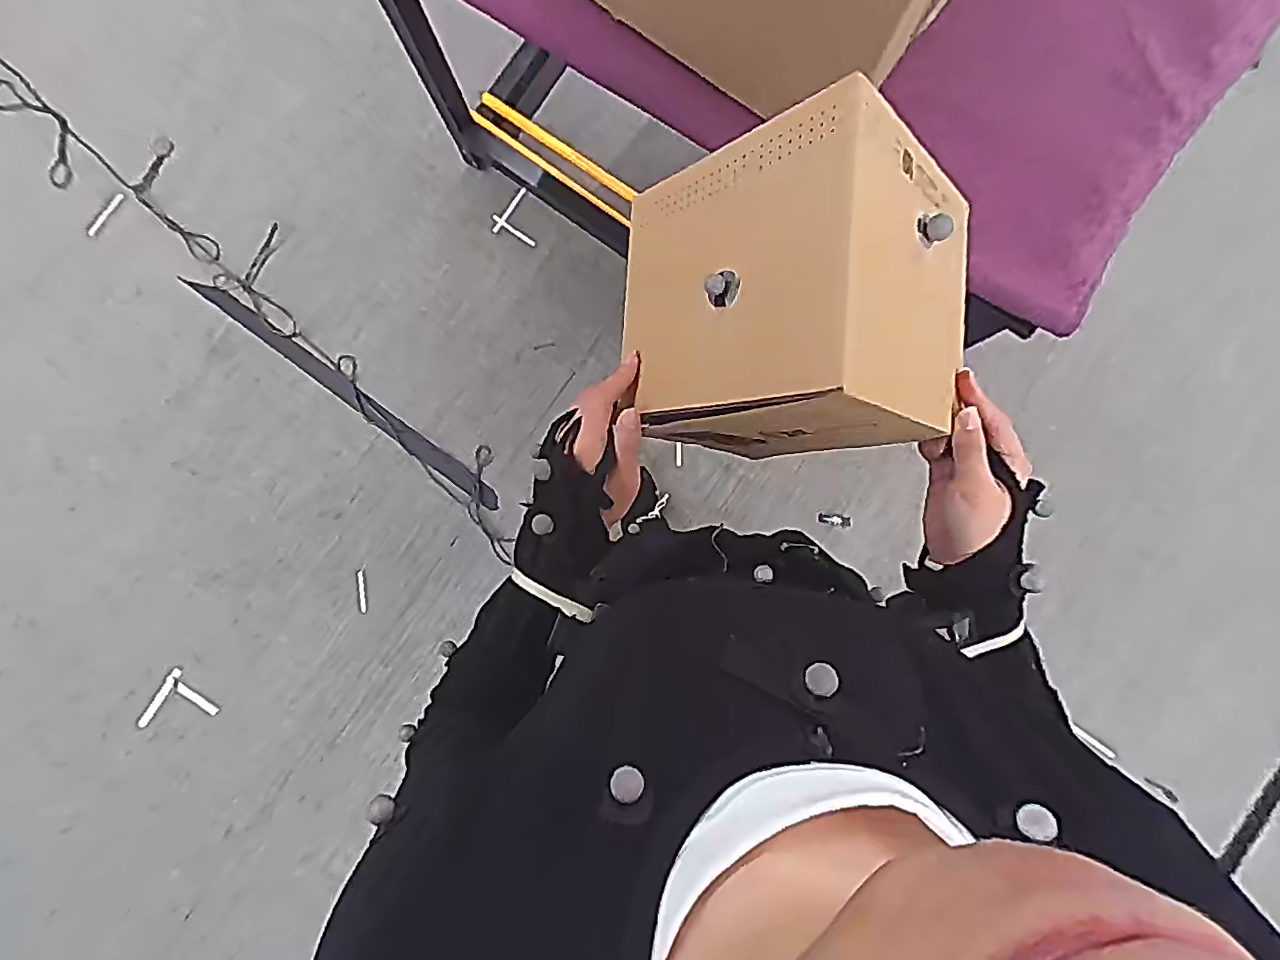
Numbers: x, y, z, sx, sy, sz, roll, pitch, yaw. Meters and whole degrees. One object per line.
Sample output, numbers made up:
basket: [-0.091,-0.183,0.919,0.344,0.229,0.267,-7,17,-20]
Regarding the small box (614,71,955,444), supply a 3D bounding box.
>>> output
small box: [0.102,-0.124,0.383,0.168,0.179,0.176,6,85,-42]
